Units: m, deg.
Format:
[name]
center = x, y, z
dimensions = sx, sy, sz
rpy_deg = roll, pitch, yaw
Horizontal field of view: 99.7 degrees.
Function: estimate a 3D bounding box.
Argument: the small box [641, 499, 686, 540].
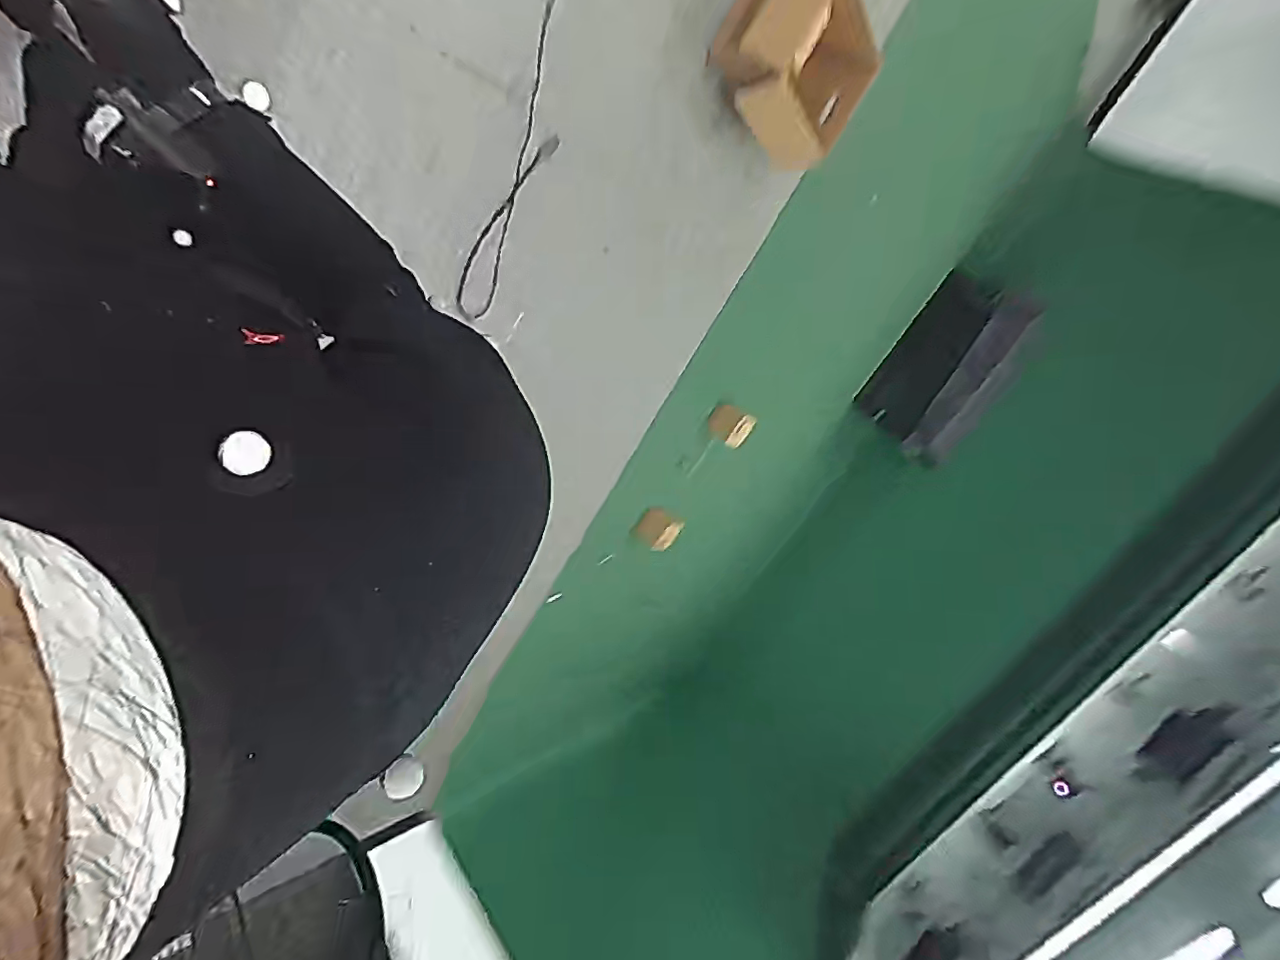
[small box]
center = 0.131, 0.234, 3.193
dimensions = 0.168, 0.176, 0.179
rpy_deg = 7, 120, -56
